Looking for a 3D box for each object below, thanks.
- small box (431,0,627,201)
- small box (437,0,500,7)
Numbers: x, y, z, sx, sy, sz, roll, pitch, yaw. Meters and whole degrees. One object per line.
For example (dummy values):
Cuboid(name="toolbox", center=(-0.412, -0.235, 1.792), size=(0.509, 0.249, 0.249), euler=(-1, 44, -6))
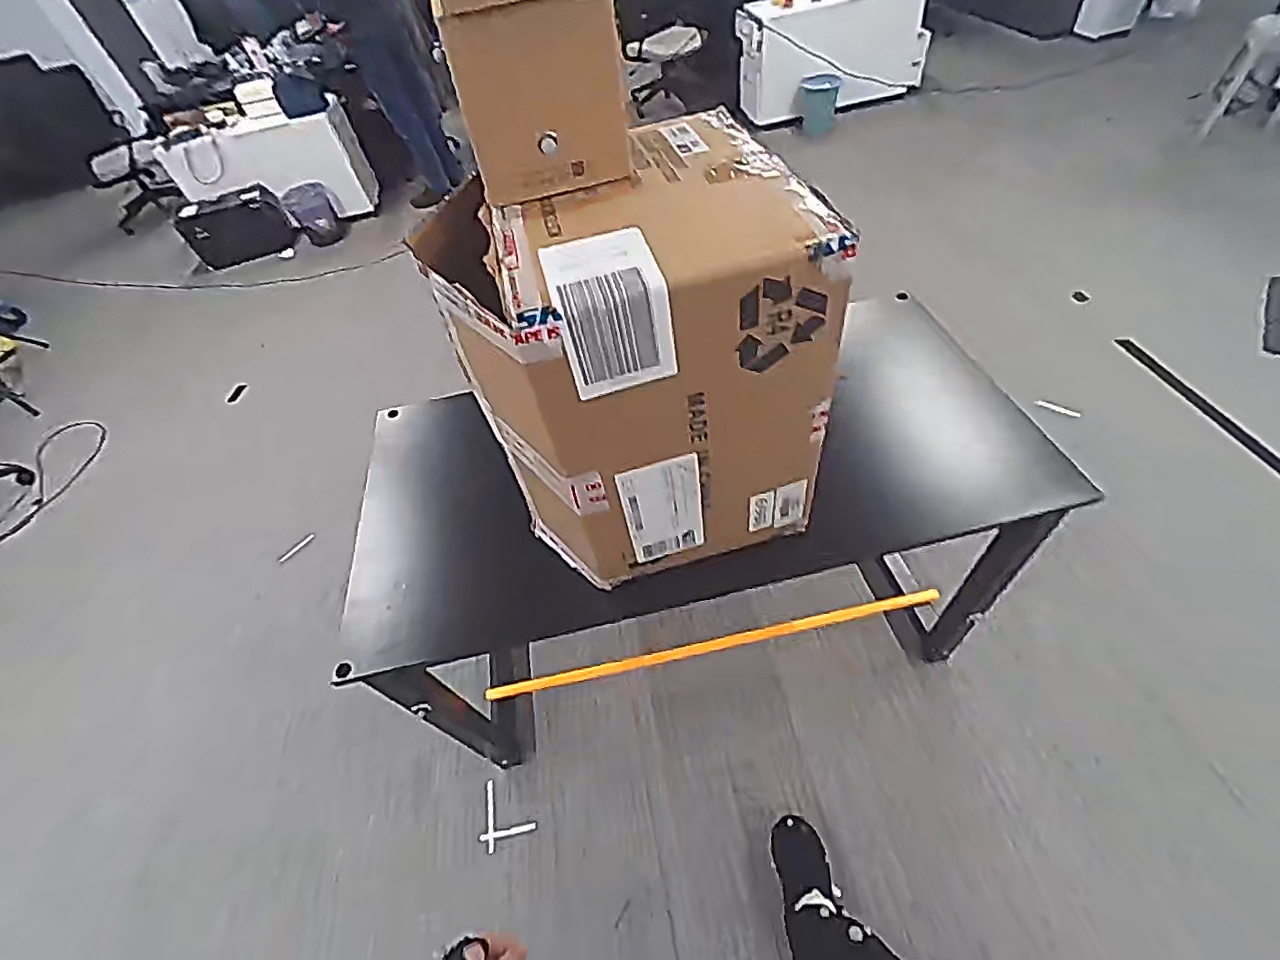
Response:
Cuboid(name="small box", center=(-0.120, -0.437, 0.602), size=(0.168, 0.176, 0.179), euler=(-16, 49, -6))
Cuboid(name="small box", center=(-0.130, -0.541, 0.473), size=(0.168, 0.176, 0.179), euler=(-18, 49, -7))
